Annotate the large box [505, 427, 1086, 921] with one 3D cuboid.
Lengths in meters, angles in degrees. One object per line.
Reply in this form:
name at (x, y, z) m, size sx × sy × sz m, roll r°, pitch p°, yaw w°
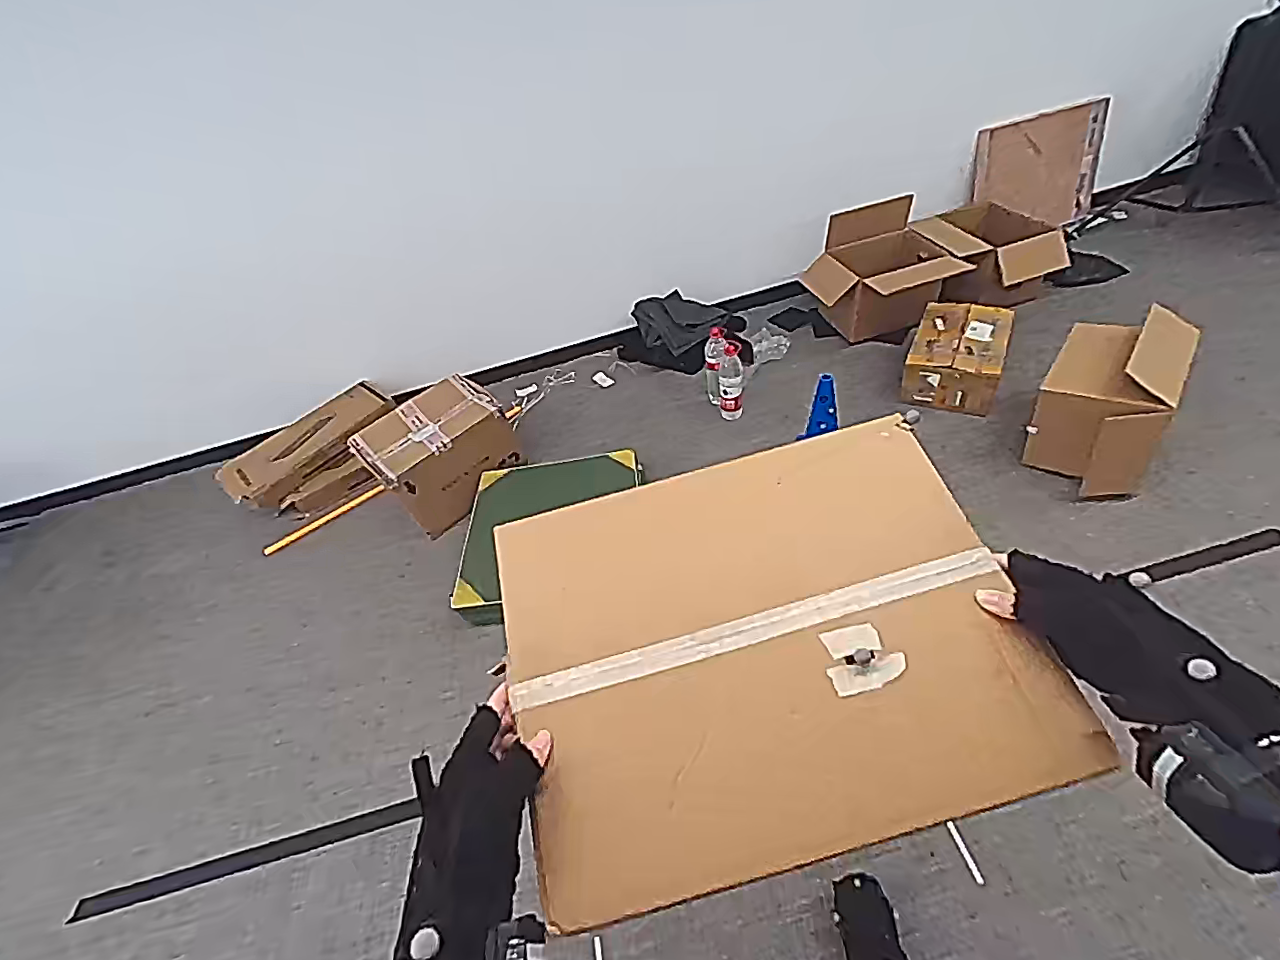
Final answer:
large box at (0.112, 0.201, 0.584) m, size 0.408 × 0.320 × 0.320 m, roll -16°, pitch 60°, yaw -2°
